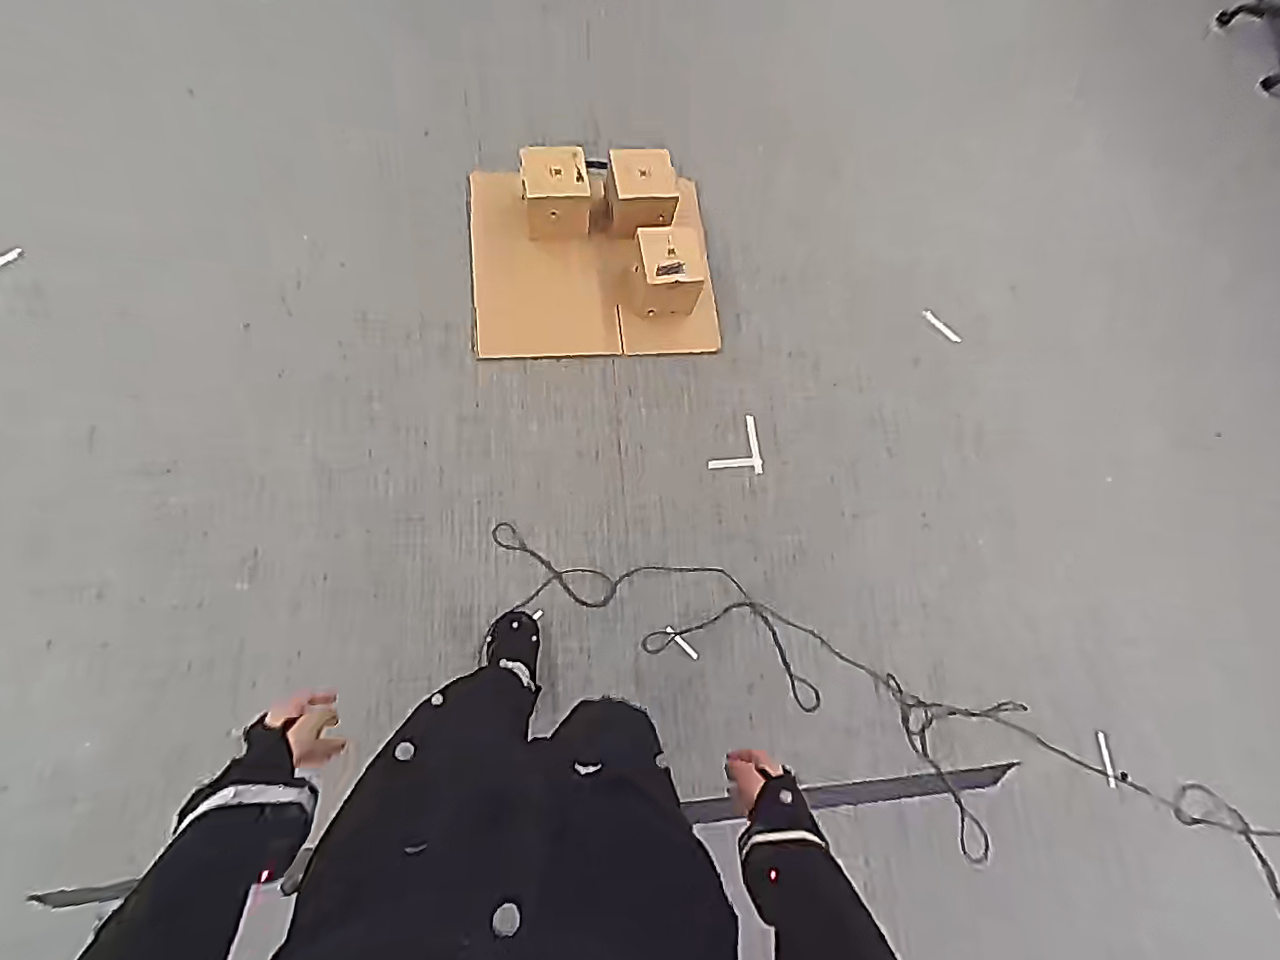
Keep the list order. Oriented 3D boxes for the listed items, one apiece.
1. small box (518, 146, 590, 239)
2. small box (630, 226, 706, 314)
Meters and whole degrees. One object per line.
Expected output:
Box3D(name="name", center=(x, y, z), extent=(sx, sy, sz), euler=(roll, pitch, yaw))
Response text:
Box3D(name="small box", center=(-0.240, -0.805, 1.528), extent=(0.179, 0.176, 0.168), euler=(-8, 77, -10))
Box3D(name="small box", center=(0.073, -0.583, 1.522), extent=(0.168, 0.176, 0.179), euler=(-8, 77, -11))
